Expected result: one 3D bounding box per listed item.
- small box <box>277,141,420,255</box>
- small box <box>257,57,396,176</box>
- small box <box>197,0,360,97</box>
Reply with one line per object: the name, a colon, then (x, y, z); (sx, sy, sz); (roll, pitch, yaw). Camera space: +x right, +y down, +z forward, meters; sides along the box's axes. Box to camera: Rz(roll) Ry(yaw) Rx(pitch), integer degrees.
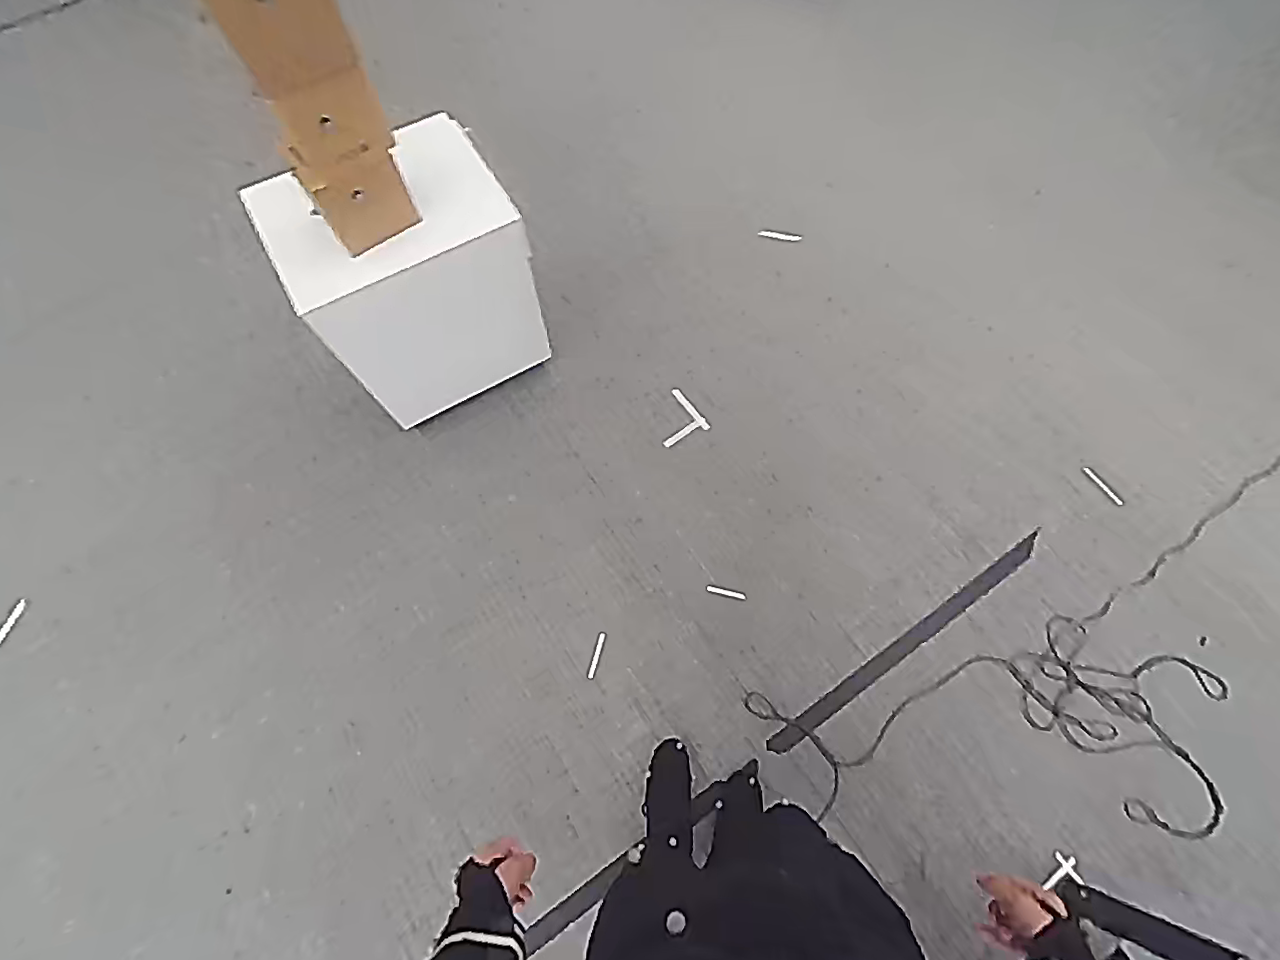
small box: (-0.600, -0.613, 1.136); (0.179, 0.176, 0.168); (-37, 75, -14)
small box: (-0.586, -0.696, 0.993); (0.168, 0.176, 0.179); (-36, 74, -13)
small box: (-0.578, -0.741, 0.834); (0.179, 0.176, 0.168); (-33, 74, -12)
